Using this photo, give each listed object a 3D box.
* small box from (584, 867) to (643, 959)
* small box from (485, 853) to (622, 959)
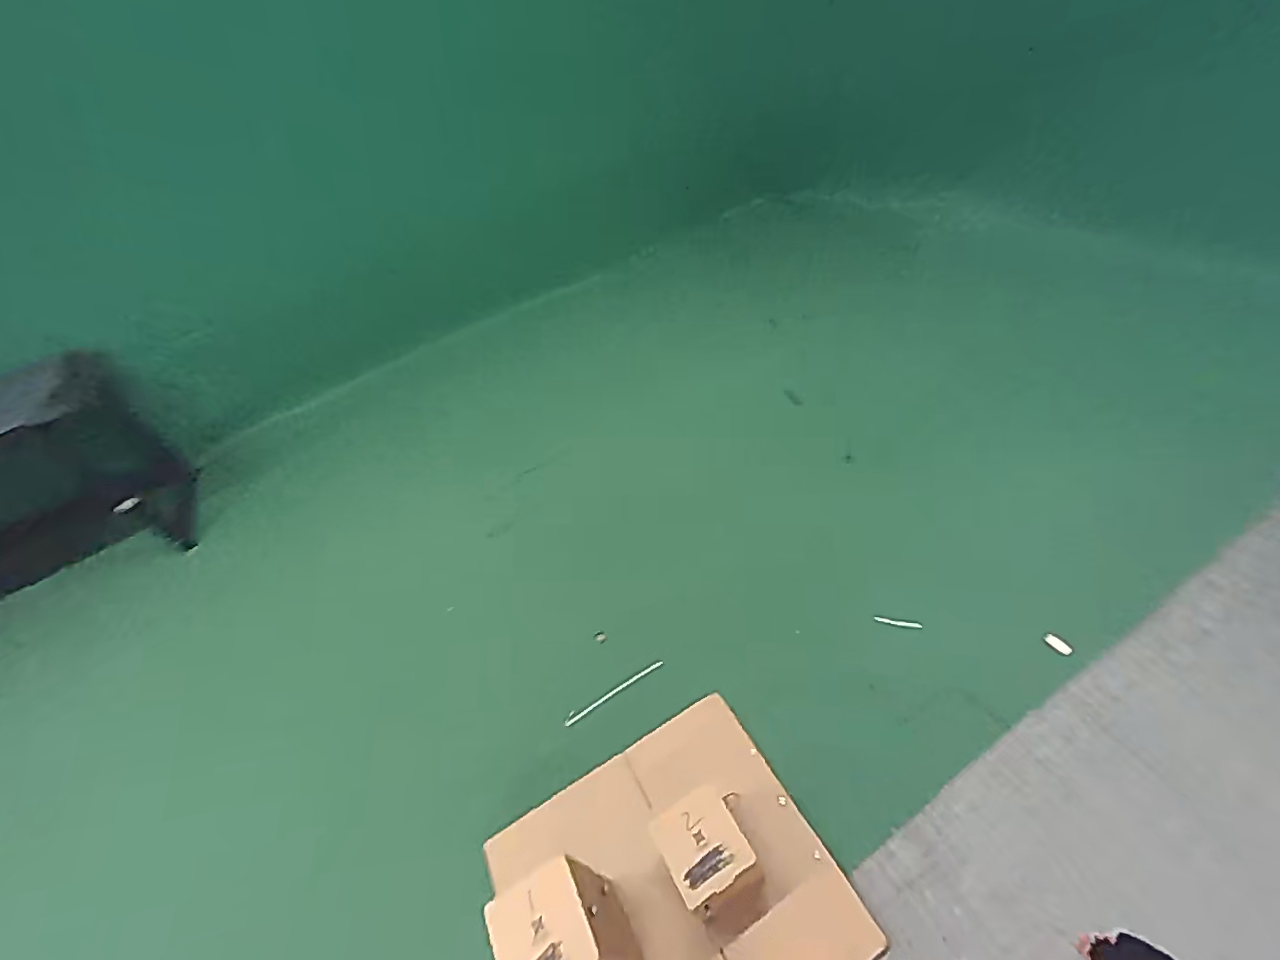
[{"bbox_3d":[-0.115,0.937,1.097,0.168,0.176,0.179,-31,46,-12],"label":"small box"},{"bbox_3d":[-0.152,0.827,0.982,0.168,0.176,0.179,-29,45,-11],"label":"small box"}]
